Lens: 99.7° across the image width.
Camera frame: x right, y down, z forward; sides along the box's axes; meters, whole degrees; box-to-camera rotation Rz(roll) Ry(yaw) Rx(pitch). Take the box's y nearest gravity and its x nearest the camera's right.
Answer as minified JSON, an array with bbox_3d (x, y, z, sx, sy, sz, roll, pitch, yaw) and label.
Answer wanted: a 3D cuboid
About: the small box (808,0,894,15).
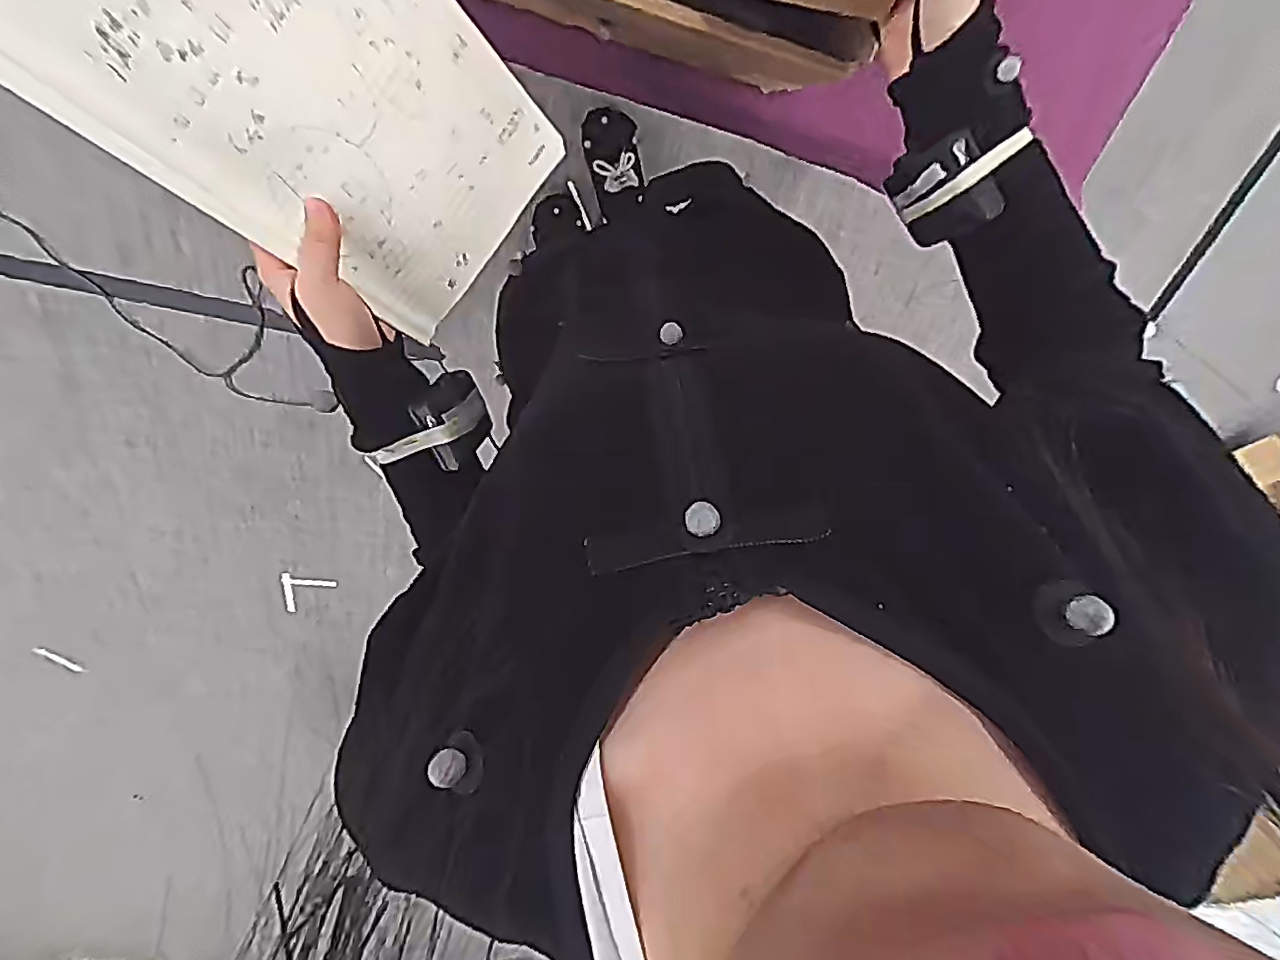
[{"bbox_3d":[0.104,-0.400,0.278,0.168,0.176,0.179,9,90,-3],"label":"small box"}]
